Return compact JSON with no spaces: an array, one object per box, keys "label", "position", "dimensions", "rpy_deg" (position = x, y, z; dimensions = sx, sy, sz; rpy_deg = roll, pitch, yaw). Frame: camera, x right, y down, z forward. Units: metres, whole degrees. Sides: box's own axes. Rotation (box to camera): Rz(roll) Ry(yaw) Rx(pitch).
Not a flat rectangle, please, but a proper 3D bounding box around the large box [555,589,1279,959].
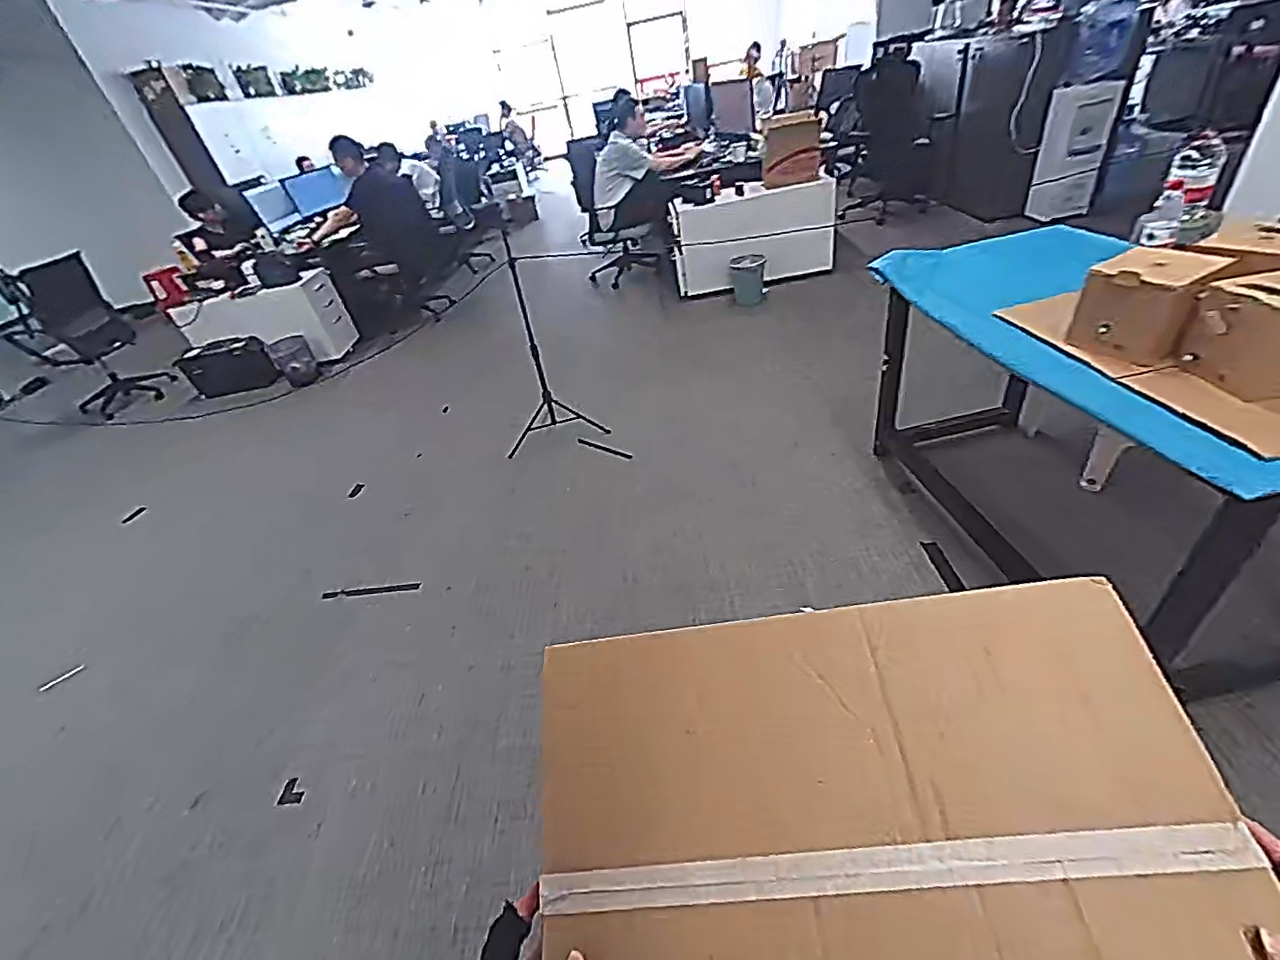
[{"label":"large box","position":[0.166,0.316,0.453],"dimensions":[0.408,0.320,0.320],"rpy_deg":[-10,59,8]}]
